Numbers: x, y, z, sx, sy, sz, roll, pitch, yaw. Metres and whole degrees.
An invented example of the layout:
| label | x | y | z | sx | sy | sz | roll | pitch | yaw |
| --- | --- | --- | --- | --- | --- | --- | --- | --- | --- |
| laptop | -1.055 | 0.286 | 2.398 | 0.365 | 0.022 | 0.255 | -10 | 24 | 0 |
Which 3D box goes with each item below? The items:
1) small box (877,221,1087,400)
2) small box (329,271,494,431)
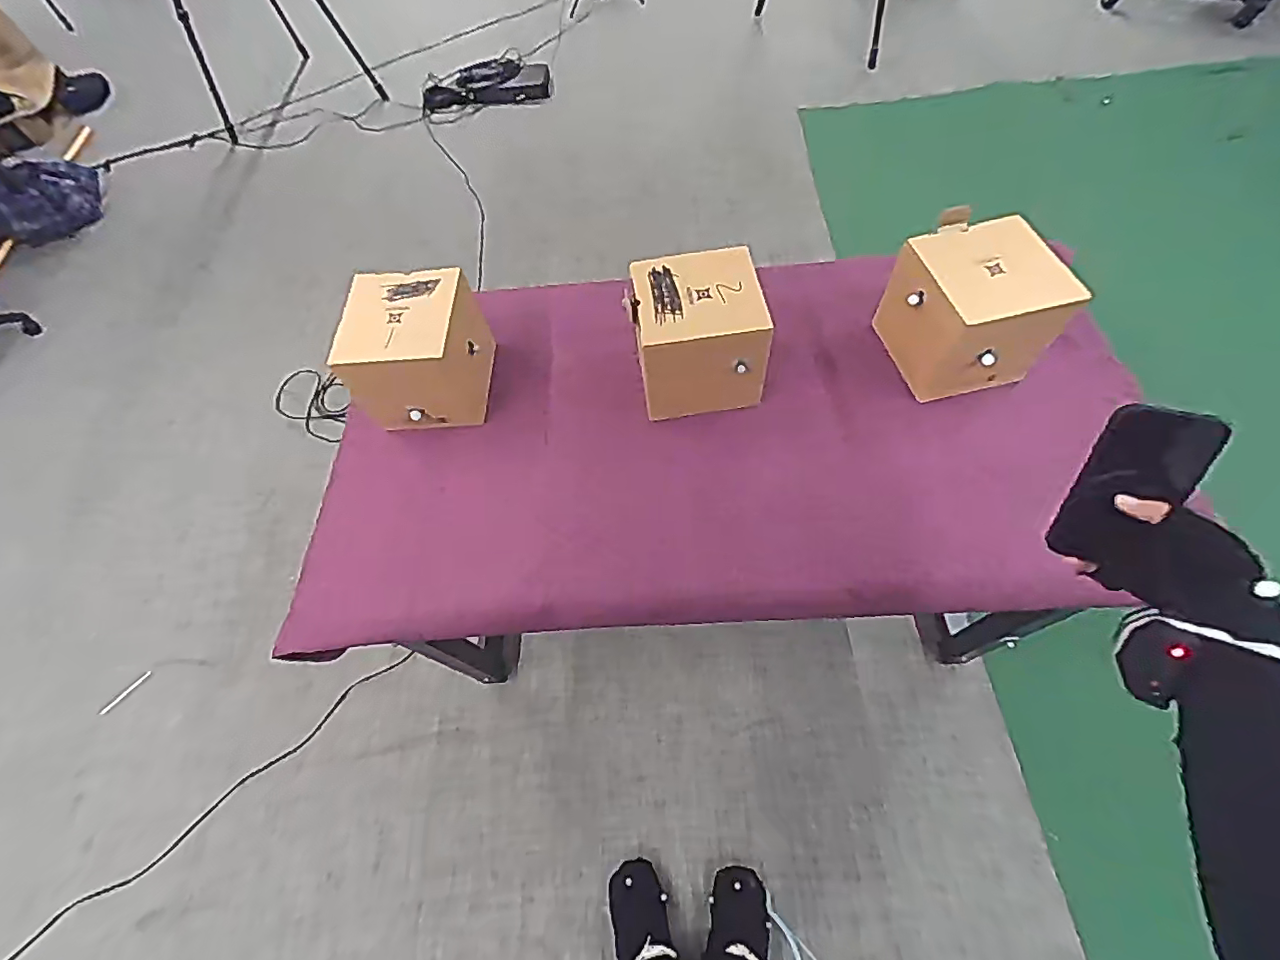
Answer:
| label | x | y | z | sx | sy | sz | roll | pitch | yaw |
| --- | --- | --- | --- | --- | --- | --- | --- | --- | --- |
| small box | 0.475 | -0.235 | 0.786 | 0.168 | 0.176 | 0.179 | -13 | 60 | -1 |
| small box | -0.337 | -0.194 | 0.838 | 0.168 | 0.176 | 0.179 | -3 | 62 | 4 |
